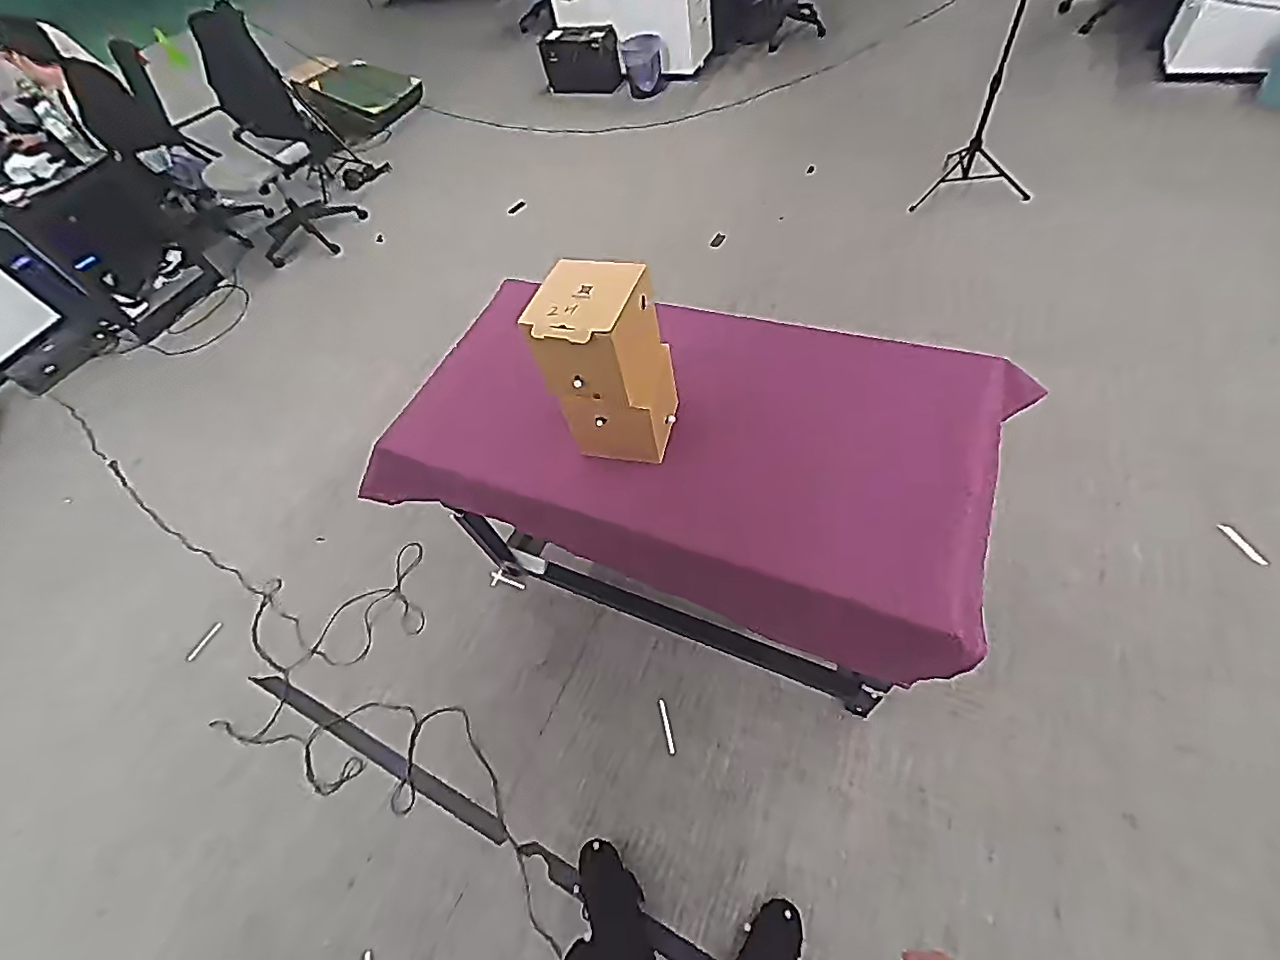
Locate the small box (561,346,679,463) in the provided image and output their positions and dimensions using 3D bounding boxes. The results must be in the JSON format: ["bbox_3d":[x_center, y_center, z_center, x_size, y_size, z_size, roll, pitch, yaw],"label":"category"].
[{"bbox_3d":[-0.030,-0.150,1.068,0.179,0.176,0.168,8,58,15],"label":"small box"}]

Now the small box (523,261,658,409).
[{"bbox_3d":[-0.073,-0.253,0.945,0.168,0.176,0.179,12,59,19],"label":"small box"}]
